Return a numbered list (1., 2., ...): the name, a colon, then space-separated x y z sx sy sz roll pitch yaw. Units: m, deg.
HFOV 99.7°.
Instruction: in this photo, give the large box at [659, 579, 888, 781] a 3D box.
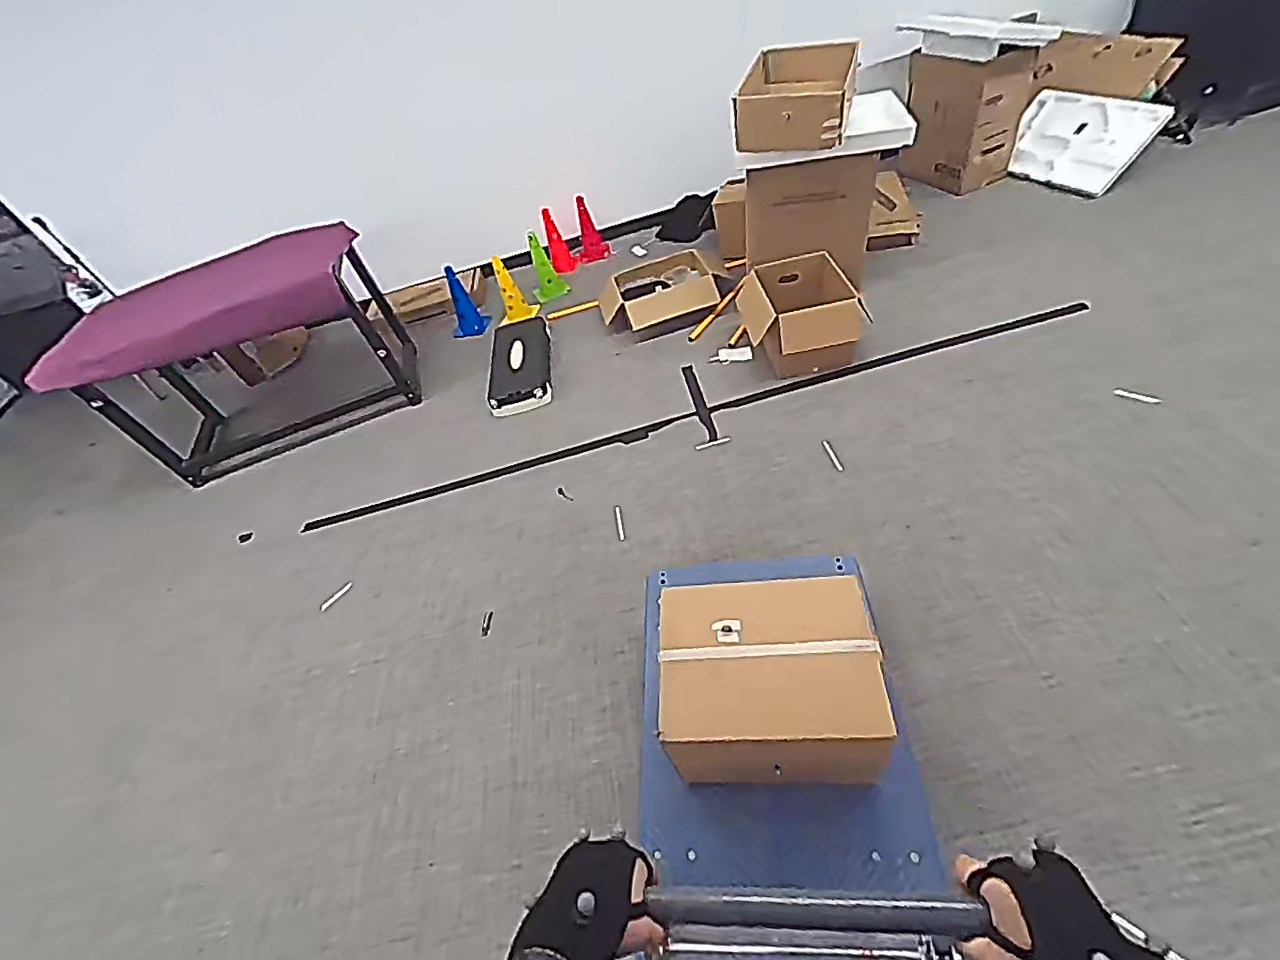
1. large box: 0.268 0.439 1.158 0.408 0.320 0.320 -7 46 11
